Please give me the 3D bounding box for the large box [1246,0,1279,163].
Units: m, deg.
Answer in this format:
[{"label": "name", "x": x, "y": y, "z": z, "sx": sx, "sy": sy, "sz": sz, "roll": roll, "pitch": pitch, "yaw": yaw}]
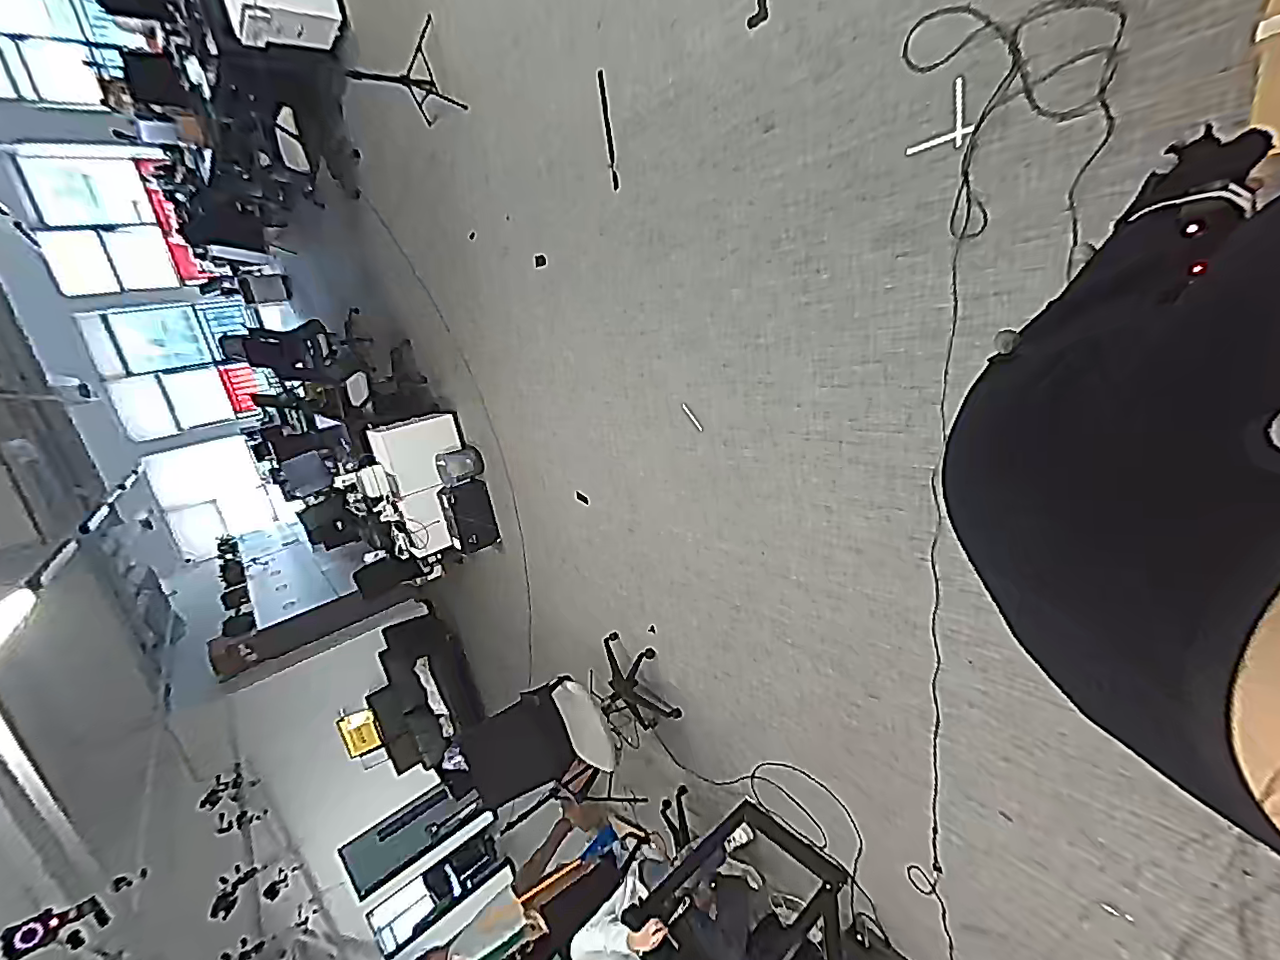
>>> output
[{"label": "large box", "x": 1.064, "y": -0.620, "z": 0.654, "sx": 0.408, "sy": 0.320, "sz": 0.320, "roll": 12, "pitch": 118, "yaw": 49}]
